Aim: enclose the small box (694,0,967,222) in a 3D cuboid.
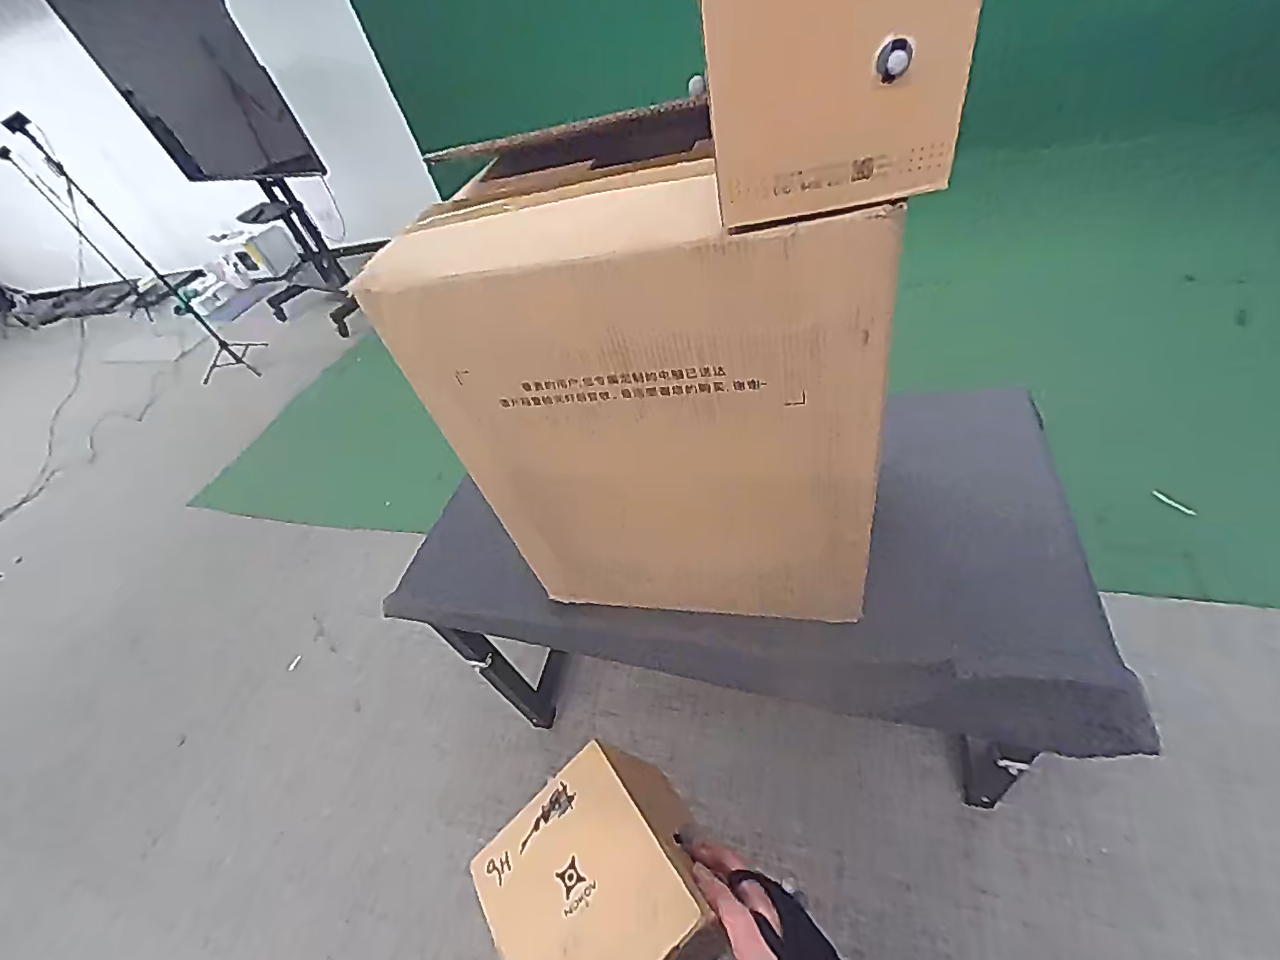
[{"bbox_3d":[0.134,-0.315,0.416,0.168,0.176,0.179,-4,45,12],"label":"small box"}]
